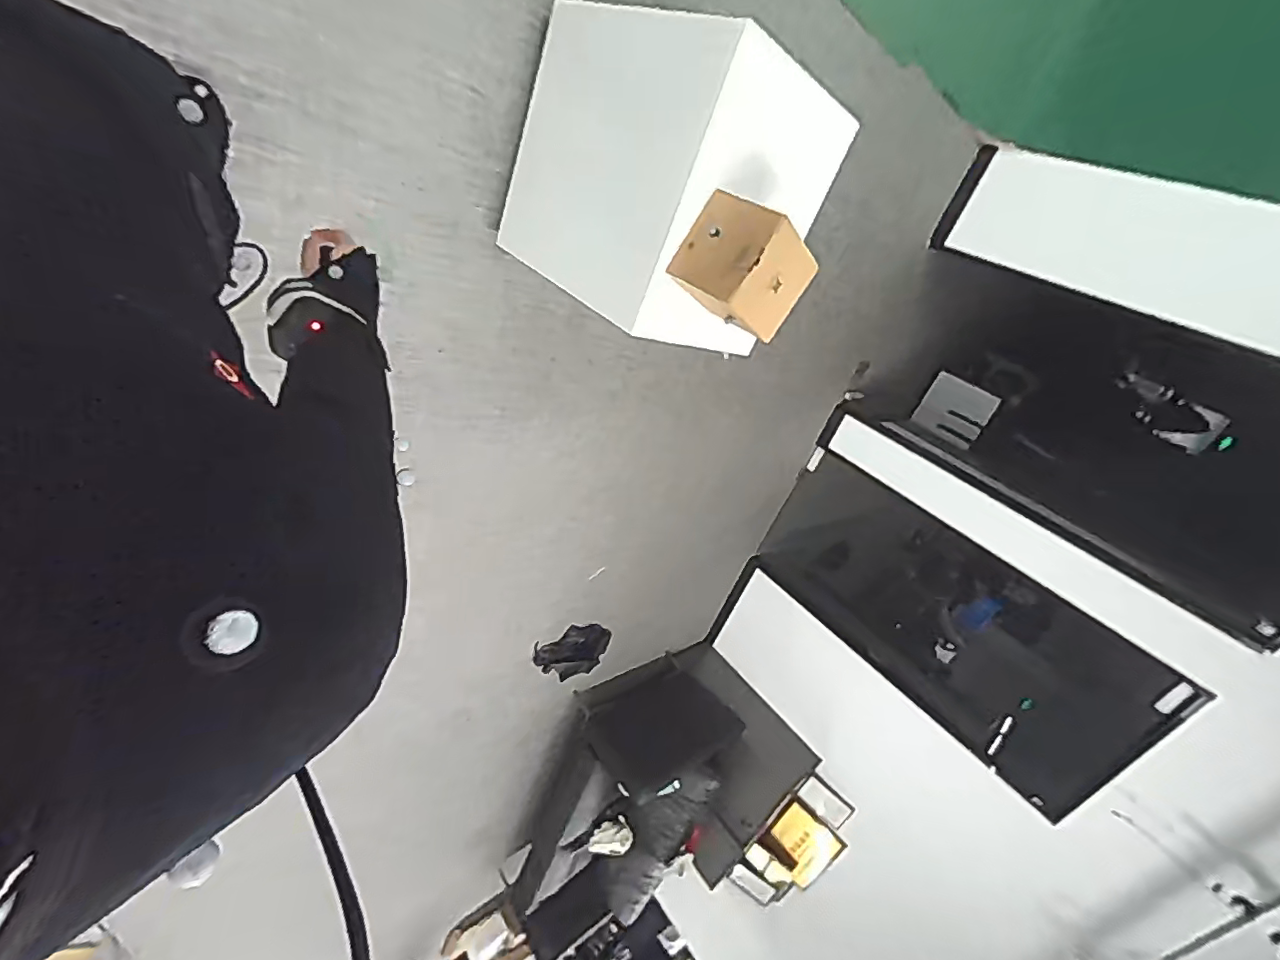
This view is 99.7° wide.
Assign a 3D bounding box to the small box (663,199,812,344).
[{"bbox_3d":[0.178,-0.384,0.996,0.179,0.176,0.168,16,111,-53],"label":"small box"}]
